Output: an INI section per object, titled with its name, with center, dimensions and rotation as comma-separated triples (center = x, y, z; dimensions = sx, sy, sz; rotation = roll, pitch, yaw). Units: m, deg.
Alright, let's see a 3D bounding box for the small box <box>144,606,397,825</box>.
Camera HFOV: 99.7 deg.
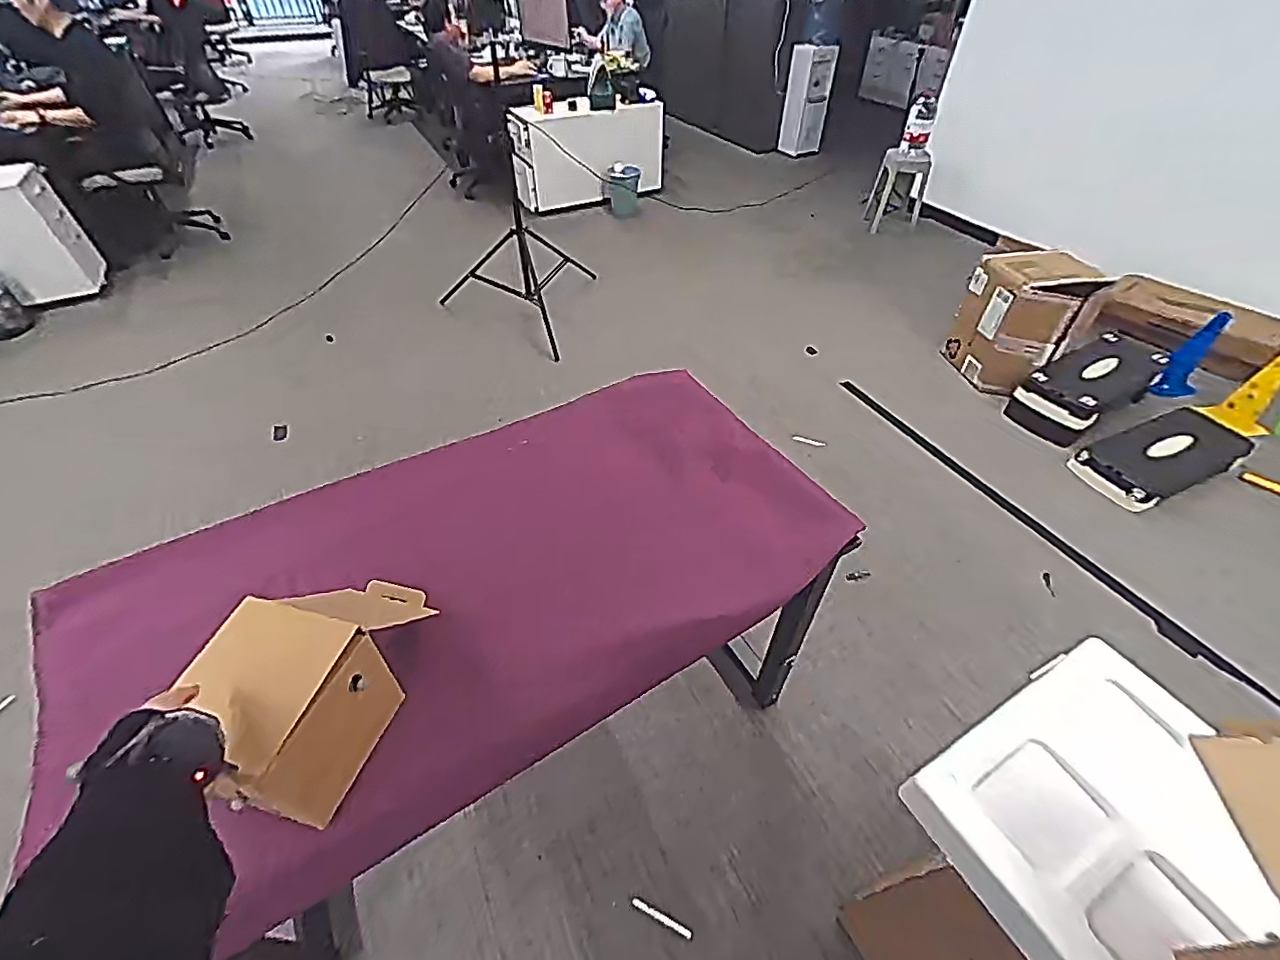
[small box]
center = -0.434, 0.291, 0.676
dimensions = 0.168, 0.176, 0.179
rotation = 10, 44, 12
